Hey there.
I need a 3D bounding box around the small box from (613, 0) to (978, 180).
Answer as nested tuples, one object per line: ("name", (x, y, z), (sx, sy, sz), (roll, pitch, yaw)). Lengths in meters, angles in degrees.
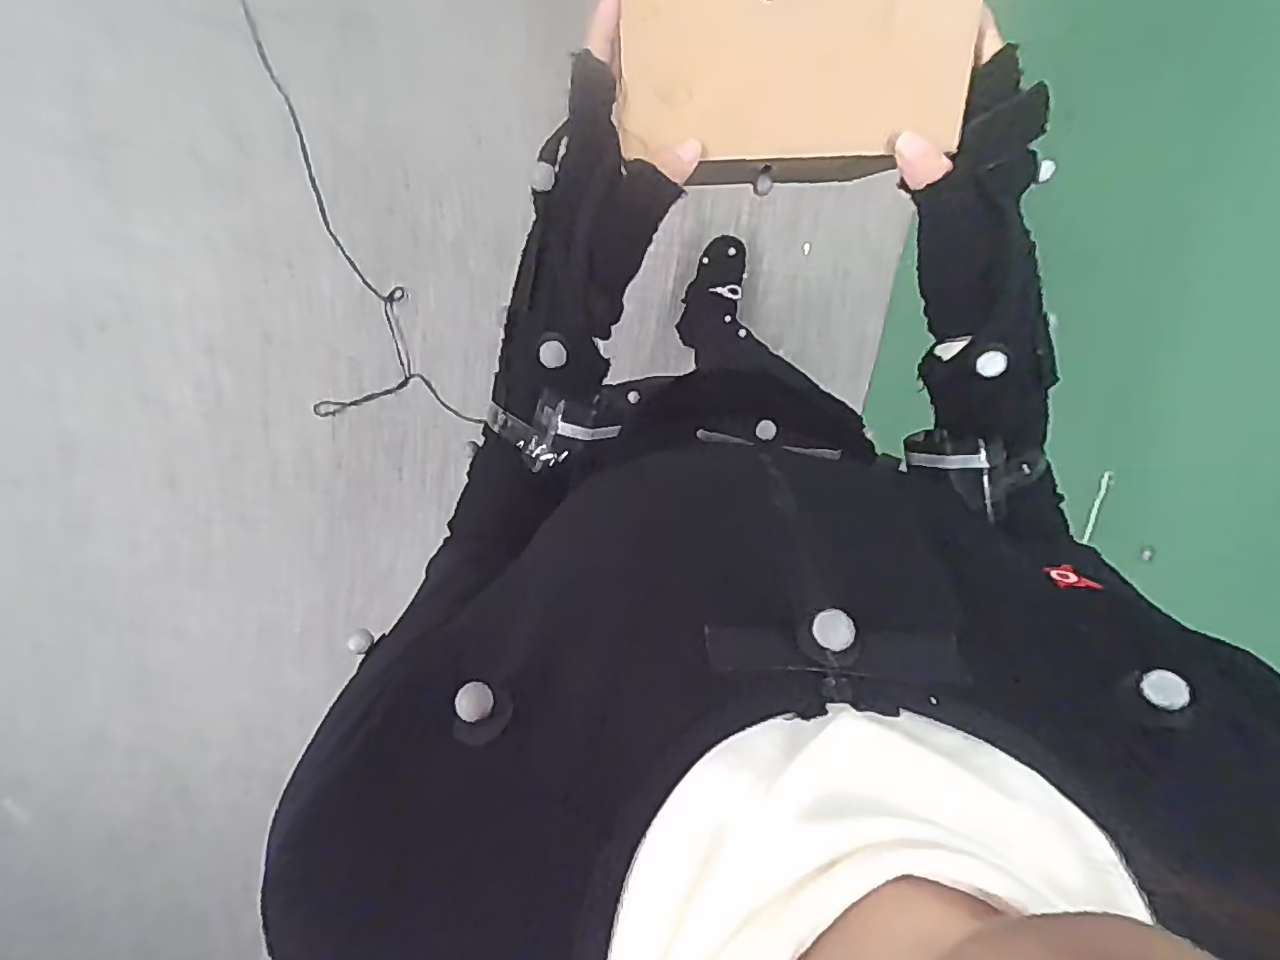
("small box", (0.076, -0.281, 0.323), (0.179, 0.176, 0.168), (-1, 115, 2))
